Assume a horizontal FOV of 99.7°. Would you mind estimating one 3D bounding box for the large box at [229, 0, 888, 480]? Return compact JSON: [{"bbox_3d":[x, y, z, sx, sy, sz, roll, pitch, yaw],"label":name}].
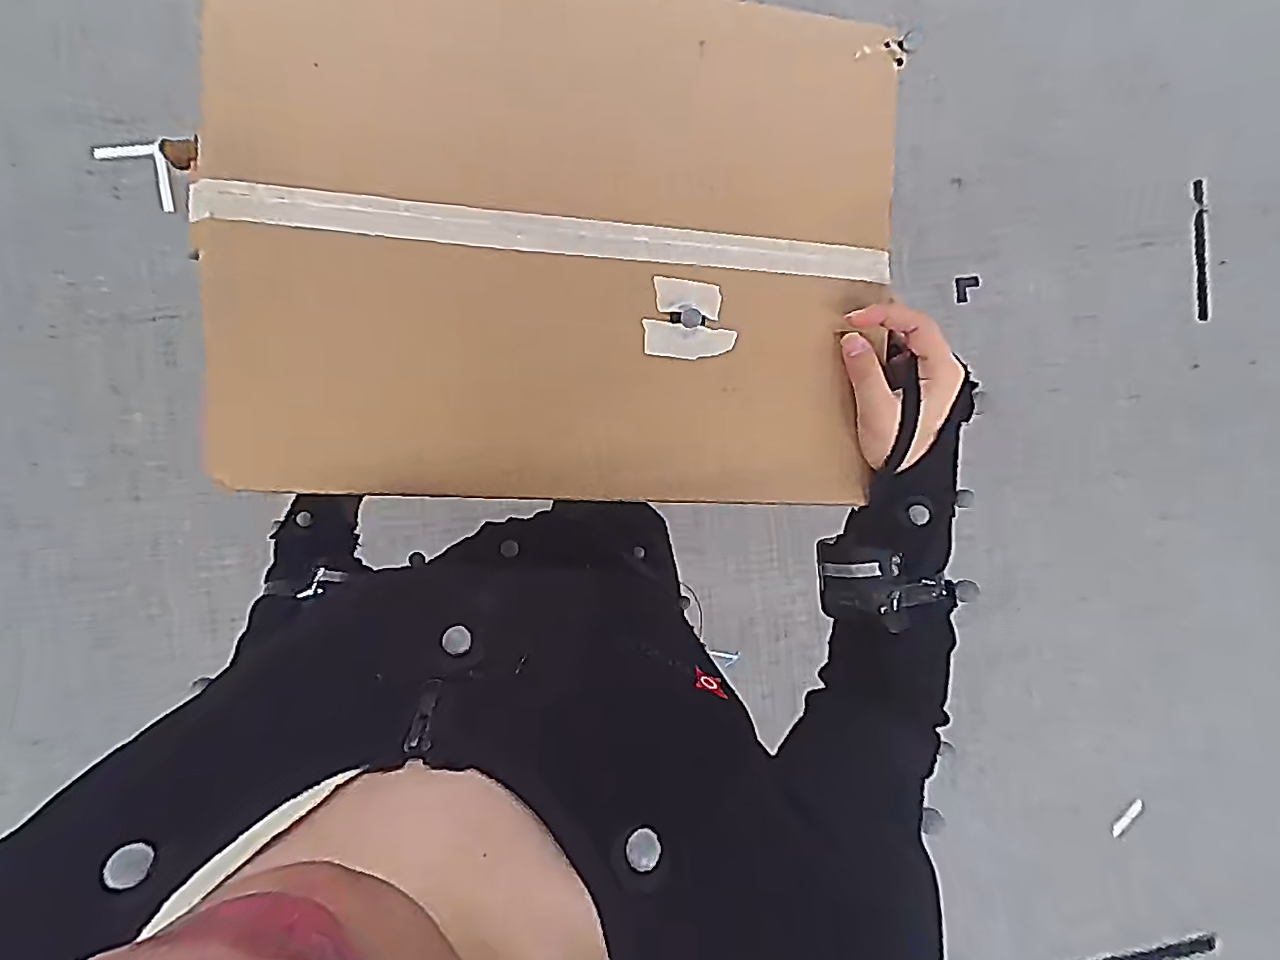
[{"bbox_3d":[-0.059,-0.163,0.479,0.408,0.320,0.320,2,93,-11],"label":"large box"}]
